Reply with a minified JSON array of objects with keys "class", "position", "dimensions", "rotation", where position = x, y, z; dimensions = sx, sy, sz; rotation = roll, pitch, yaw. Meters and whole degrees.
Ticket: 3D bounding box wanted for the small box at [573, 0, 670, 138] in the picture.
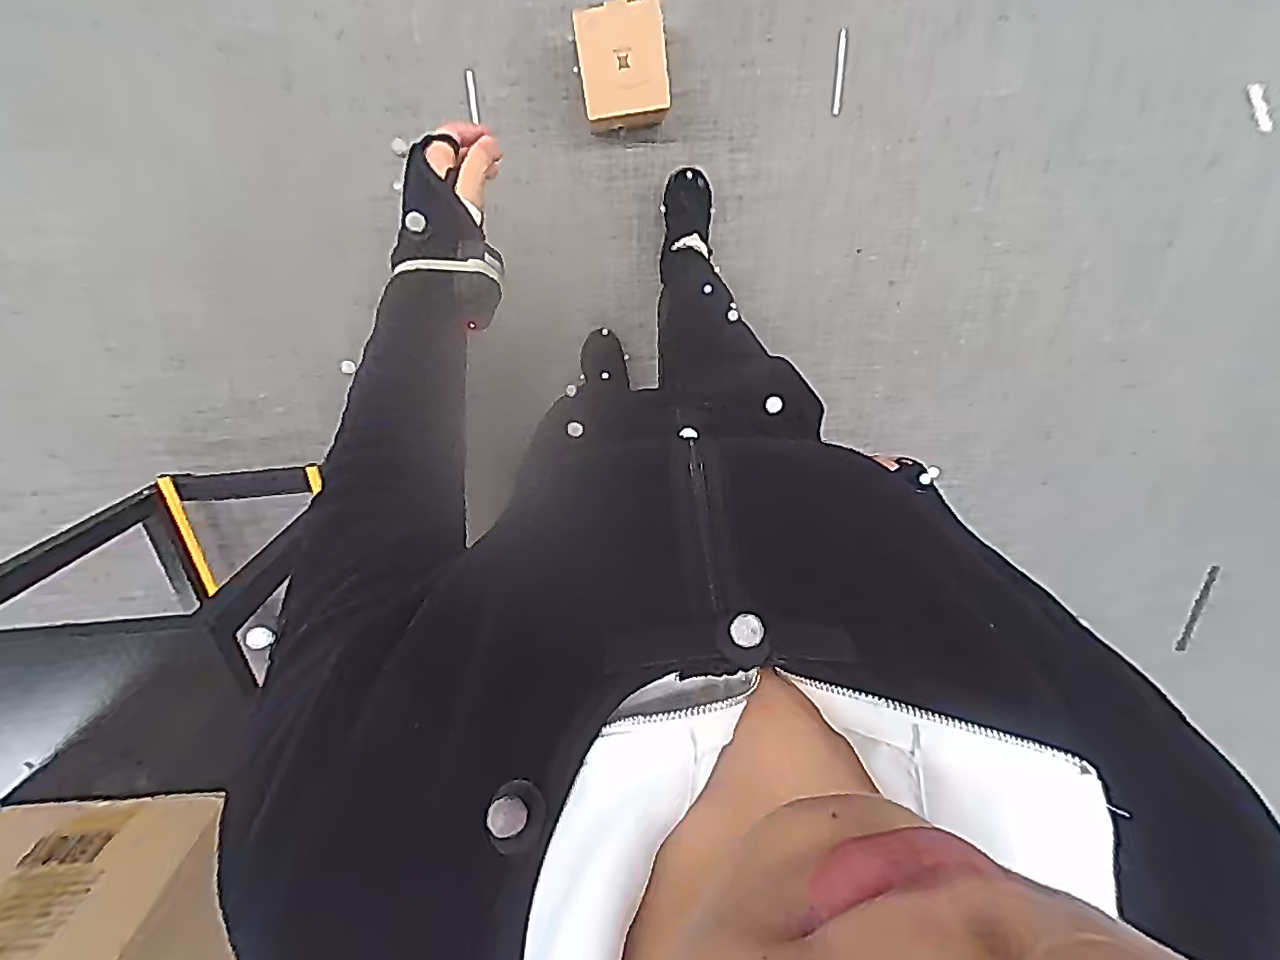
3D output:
[{"class":"small box","position":[-0.038,-0.817,1.092],"dimensions":[0.168,0.176,0.179],"rotation":[-9,115,1]}]
